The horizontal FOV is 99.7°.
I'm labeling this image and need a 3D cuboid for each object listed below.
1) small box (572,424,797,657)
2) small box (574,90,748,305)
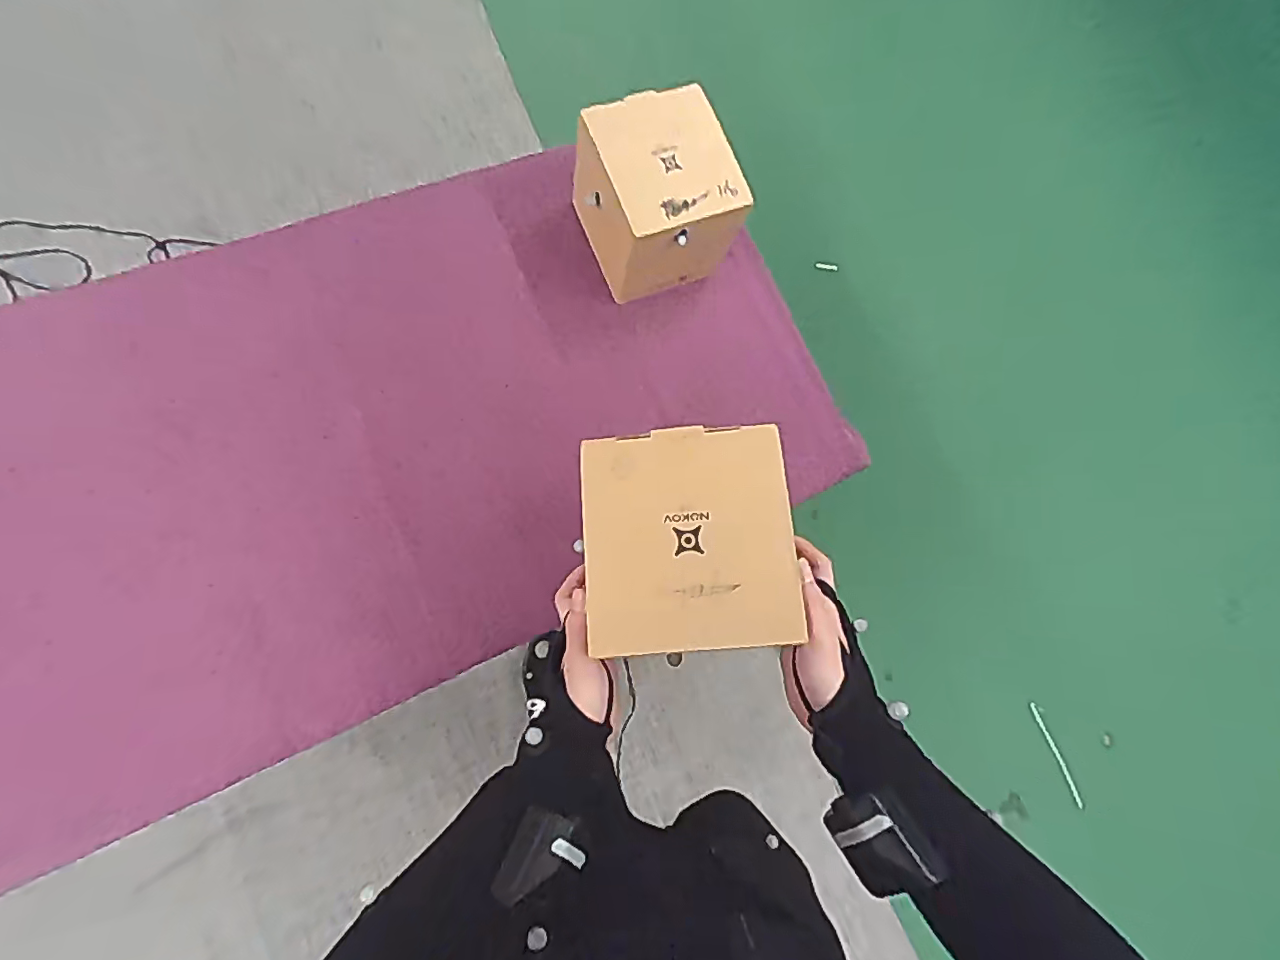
[{"bbox_3d":[0.034,0.064,0.499,0.168,0.176,0.179,-6,75,3],"label":"small box"},{"bbox_3d":[0.015,-0.372,0.734,0.168,0.176,0.179,-23,84,-11],"label":"small box"}]
